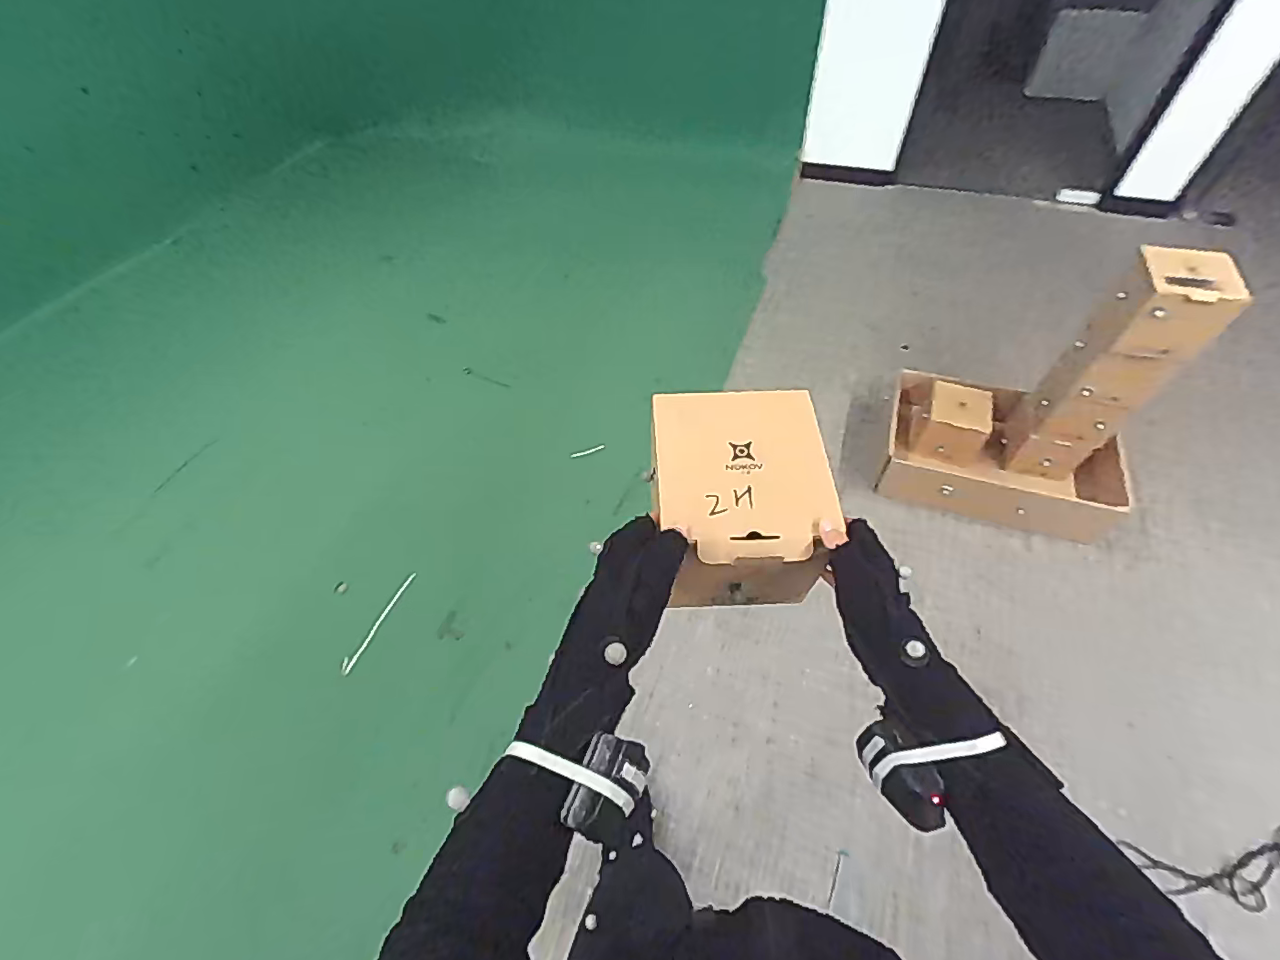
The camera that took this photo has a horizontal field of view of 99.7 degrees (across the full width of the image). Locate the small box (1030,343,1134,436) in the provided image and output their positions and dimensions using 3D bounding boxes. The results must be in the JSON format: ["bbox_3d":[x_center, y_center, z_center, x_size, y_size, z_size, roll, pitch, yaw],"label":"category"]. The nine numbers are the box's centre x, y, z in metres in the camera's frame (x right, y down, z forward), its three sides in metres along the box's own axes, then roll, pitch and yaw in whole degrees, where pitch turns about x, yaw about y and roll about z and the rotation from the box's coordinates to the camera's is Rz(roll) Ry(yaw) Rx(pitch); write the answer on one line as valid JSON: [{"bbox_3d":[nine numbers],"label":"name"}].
[{"bbox_3d":[1.209,-0.247,1.491,0.168,0.176,0.179,14,57,14],"label":"small box"}]

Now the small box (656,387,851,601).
[{"bbox_3d":[0.104,0.019,0.587,0.168,0.176,0.179,-1,57,0],"label":"small box"}]

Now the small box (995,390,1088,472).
[{"bbox_3d":[1.208,-0.144,1.641,0.168,0.176,0.179,10,56,13],"label":"small box"}]

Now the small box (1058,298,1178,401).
[{"bbox_3d":[1.195,-0.327,1.368,0.168,0.176,0.179,15,57,14],"label":"small box"}]
